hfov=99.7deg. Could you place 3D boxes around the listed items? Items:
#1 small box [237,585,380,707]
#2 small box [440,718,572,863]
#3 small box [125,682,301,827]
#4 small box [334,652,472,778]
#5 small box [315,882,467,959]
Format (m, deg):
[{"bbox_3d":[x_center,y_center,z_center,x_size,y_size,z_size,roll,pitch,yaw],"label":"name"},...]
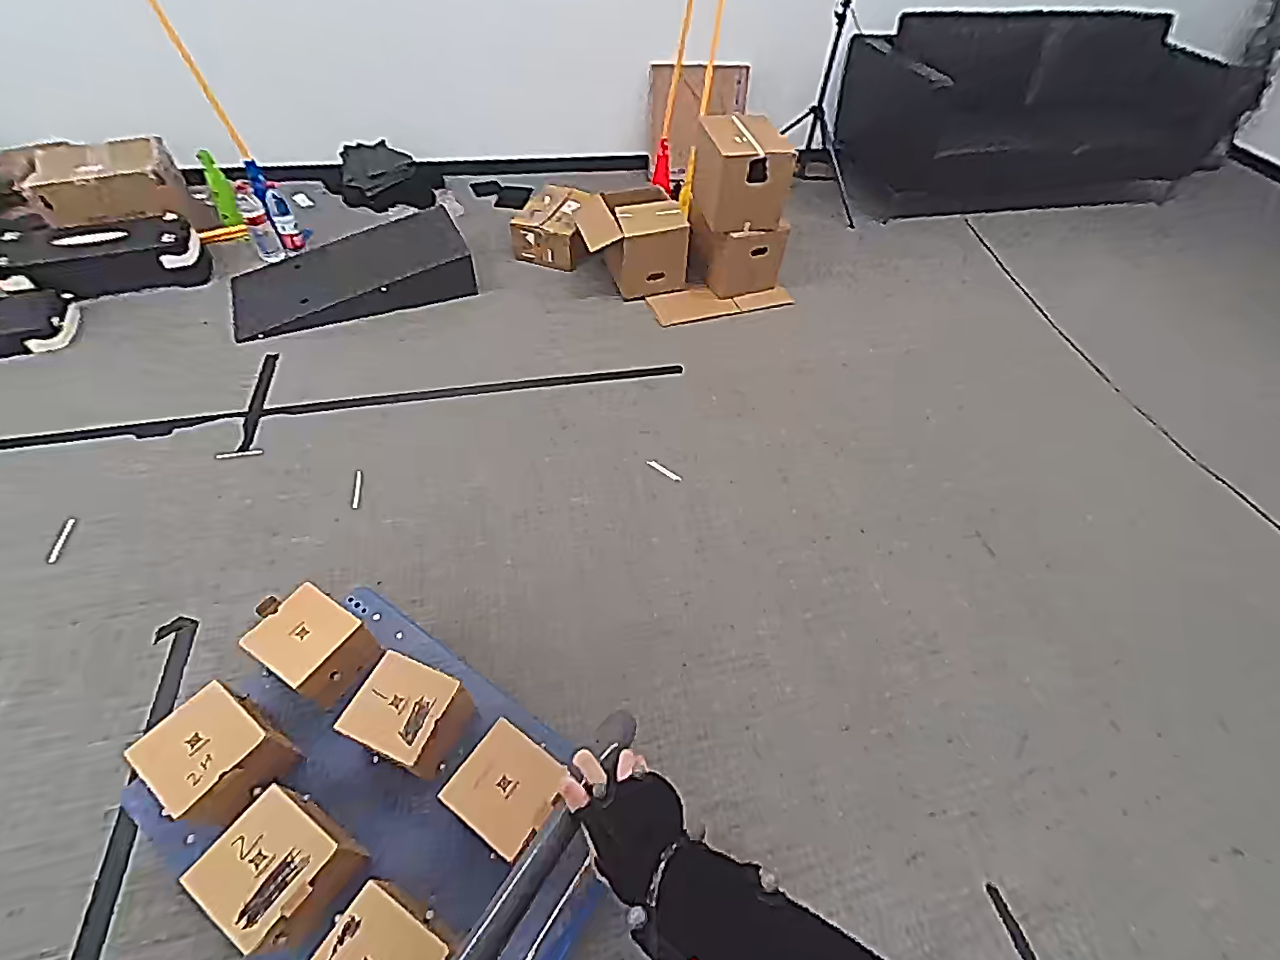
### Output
[{"bbox_3d":[-0.702,0.365,1.170,0.179,0.176,0.168,27,54,15],"label":"small box"},{"bbox_3d":[-0.244,0.595,1.032,0.179,0.176,0.168,29,54,18],"label":"small box"},{"bbox_3d":[-0.799,0.527,1.029,0.179,0.176,0.168,32,55,17],"label":"small box"},{"bbox_3d":[-0.466,0.483,1.099,0.179,0.176,0.168,18,52,10],"label":"small box"},{"bbox_3d":[-0.403,0.783,0.863,0.179,0.176,0.168,27,53,15],"label":"small box"}]
